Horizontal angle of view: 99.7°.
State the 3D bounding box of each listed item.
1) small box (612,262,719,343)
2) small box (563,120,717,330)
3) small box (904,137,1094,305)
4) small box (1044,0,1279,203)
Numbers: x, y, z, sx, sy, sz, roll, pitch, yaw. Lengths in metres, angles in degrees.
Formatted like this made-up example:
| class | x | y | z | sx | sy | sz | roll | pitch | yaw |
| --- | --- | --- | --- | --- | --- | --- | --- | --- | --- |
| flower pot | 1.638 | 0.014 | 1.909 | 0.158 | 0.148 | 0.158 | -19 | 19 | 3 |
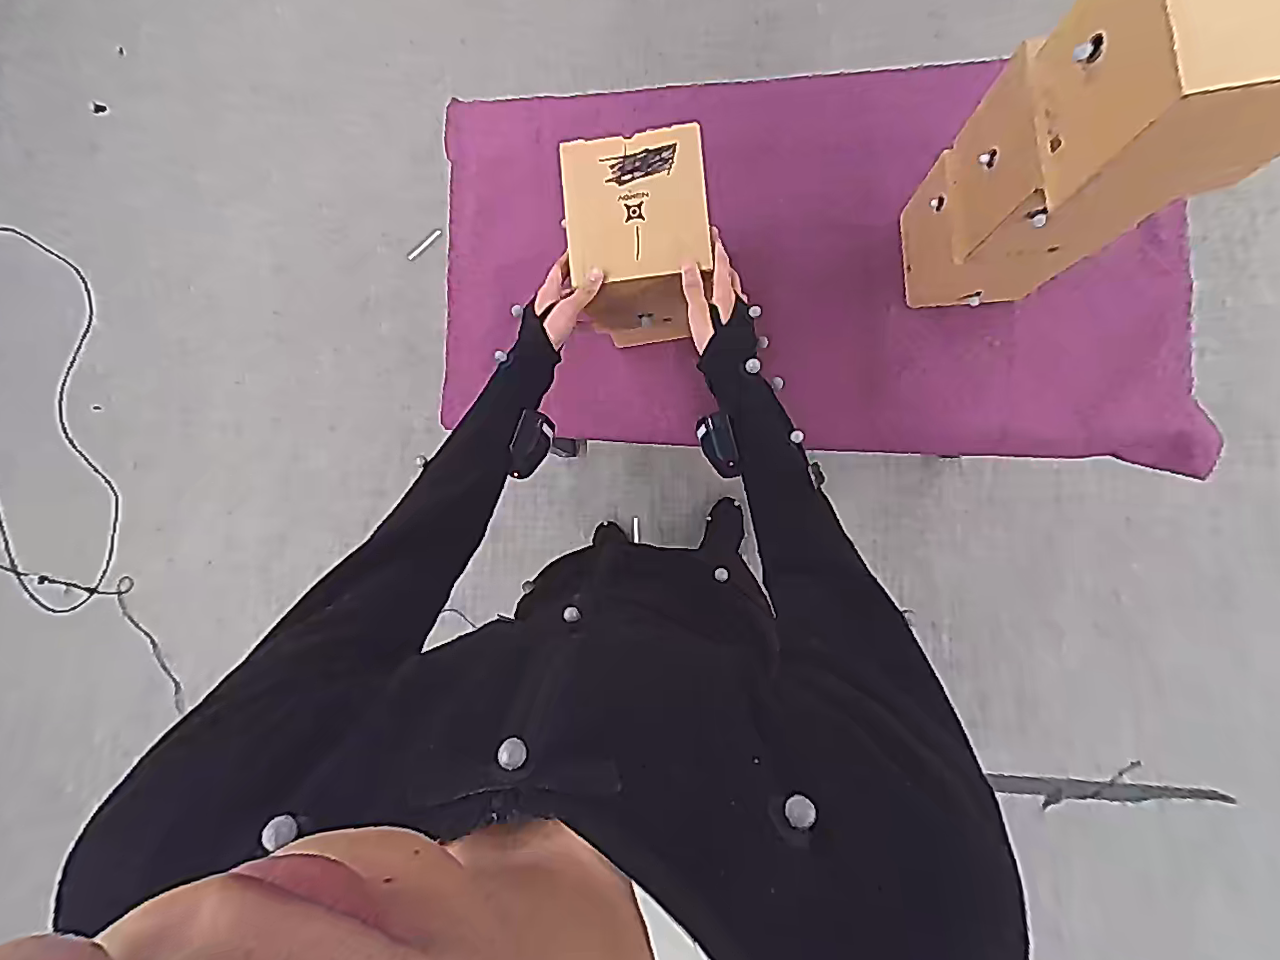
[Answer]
| class | x | y | z | sx | sy | sz | roll | pitch | yaw |
| --- | --- | --- | --- | --- | --- | --- | --- | --- | --- |
| small box | 0.027 | -0.326 | 0.851 | 0.179 | 0.176 | 0.168 | -7 | 86 | 5 |
| small box | 0.005 | -0.308 | 0.687 | 0.168 | 0.176 | 0.179 | -5 | 88 | 6 |
| small box | 0.518 | -0.373 | 0.804 | 0.179 | 0.176 | 0.168 | -3 | 87 | 5 |
| small box | 0.495 | -0.372 | 0.476 | 0.179 | 0.176 | 0.168 | -6 | 86 | 5 |
